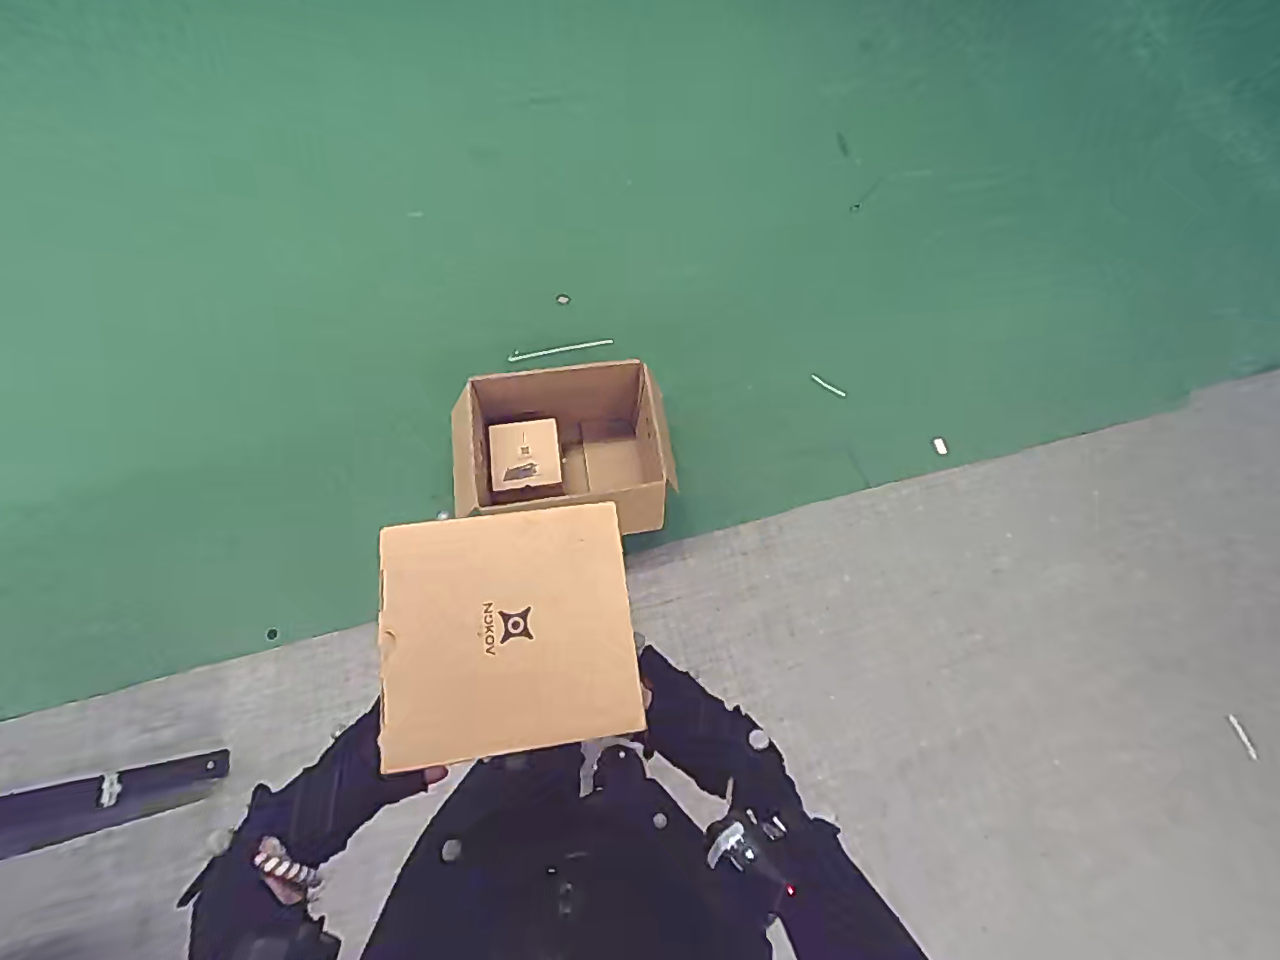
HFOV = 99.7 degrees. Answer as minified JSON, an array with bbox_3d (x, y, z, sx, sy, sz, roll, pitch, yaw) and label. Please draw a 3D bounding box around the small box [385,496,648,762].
[{"bbox_3d":[-0.098,0.122,0.460,0.179,0.176,0.168,-7,72,-7],"label":"small box"}]
